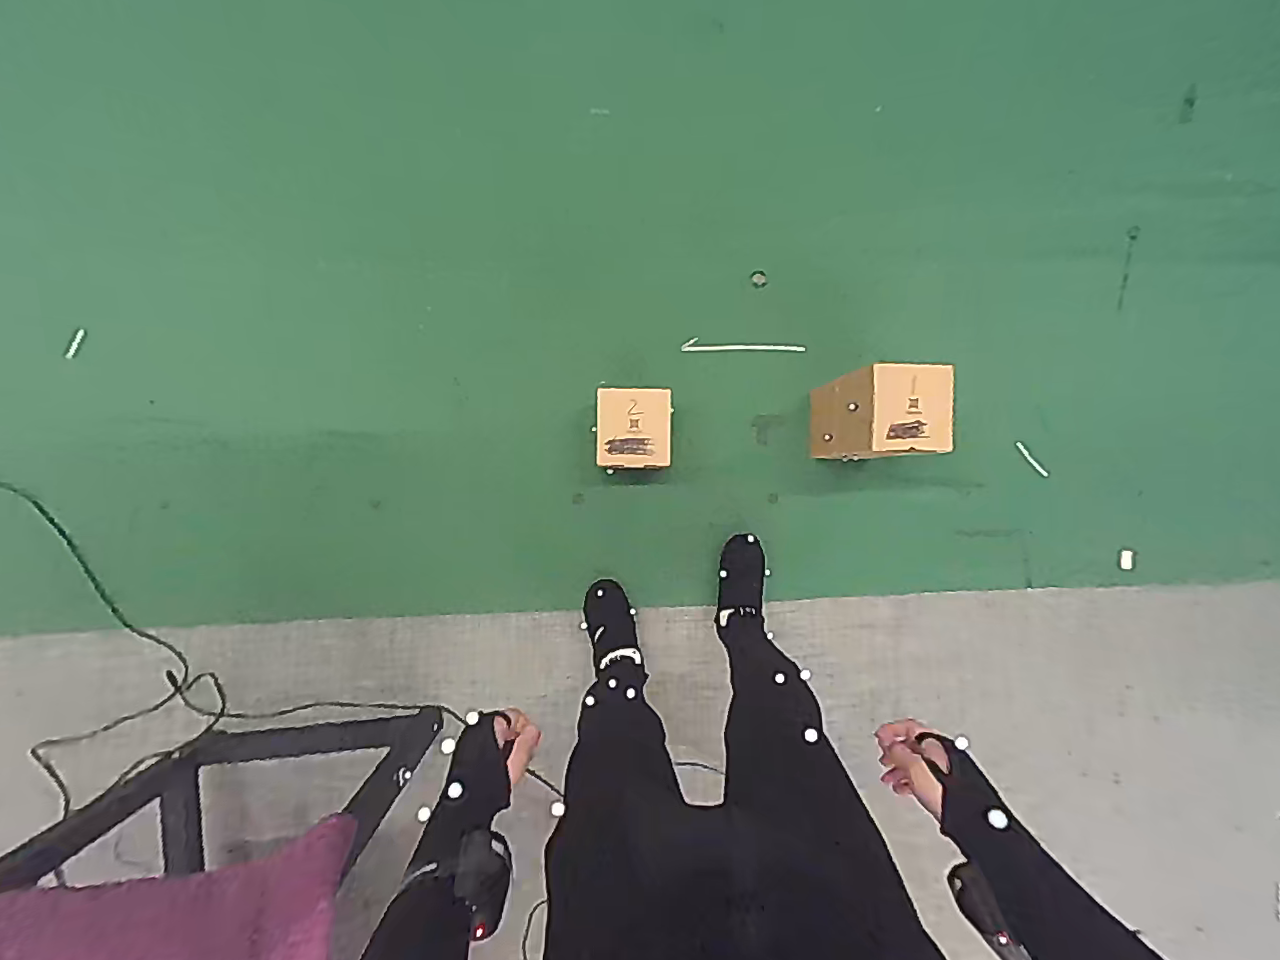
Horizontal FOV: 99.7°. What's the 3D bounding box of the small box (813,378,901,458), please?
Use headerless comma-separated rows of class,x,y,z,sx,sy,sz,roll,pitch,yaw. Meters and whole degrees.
small box,0.528,-0.145,1.308,0.168,0.176,0.179,0,91,-4

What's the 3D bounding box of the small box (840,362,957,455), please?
small box,0.538,-0.143,1.144,0.168,0.176,0.179,1,90,-4
